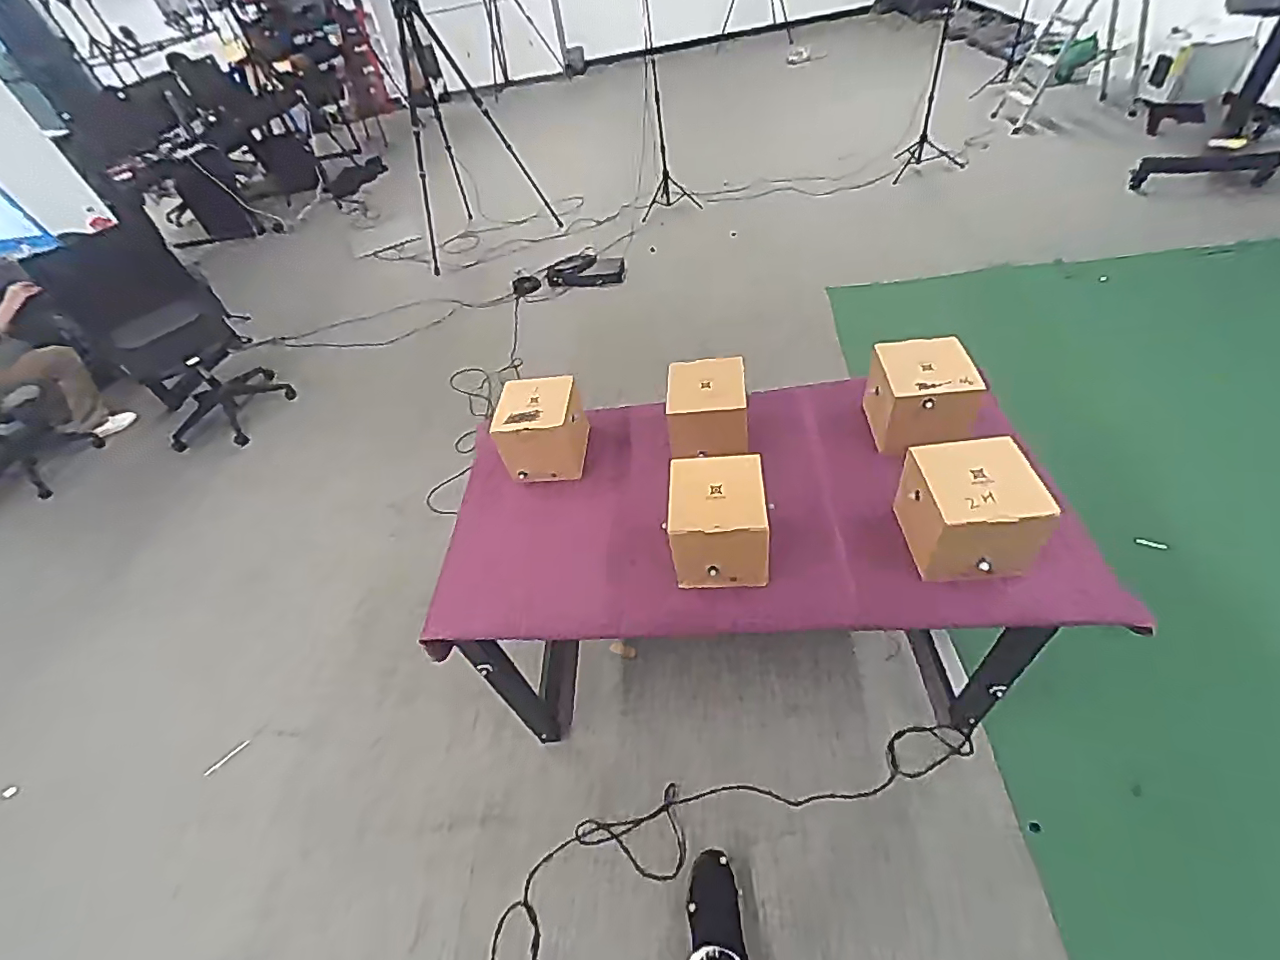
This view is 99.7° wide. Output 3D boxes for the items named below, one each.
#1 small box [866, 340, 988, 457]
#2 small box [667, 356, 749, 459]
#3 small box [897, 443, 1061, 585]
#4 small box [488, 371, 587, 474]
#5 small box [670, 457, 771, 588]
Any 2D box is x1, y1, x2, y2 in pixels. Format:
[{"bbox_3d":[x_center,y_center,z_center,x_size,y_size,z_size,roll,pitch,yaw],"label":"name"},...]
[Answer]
[{"bbox_3d":[0.583,-0.168,1.128,0.168,0.176,0.179,-3,48,8],"label":"small box"},{"bbox_3d":[0.152,-0.152,1.194,0.168,0.176,0.179,-2,49,9],"label":"small box"},{"bbox_3d":[0.560,0.060,0.926,0.168,0.176,0.179,-5,48,8],"label":"small box"},{"bbox_3d":[-0.223,-0.125,1.232,0.168,0.176,0.179,-2,49,7],"label":"small box"},{"bbox_3d":[0.145,0.078,0.990,0.168,0.176,0.179,-2,48,8],"label":"small box"}]
